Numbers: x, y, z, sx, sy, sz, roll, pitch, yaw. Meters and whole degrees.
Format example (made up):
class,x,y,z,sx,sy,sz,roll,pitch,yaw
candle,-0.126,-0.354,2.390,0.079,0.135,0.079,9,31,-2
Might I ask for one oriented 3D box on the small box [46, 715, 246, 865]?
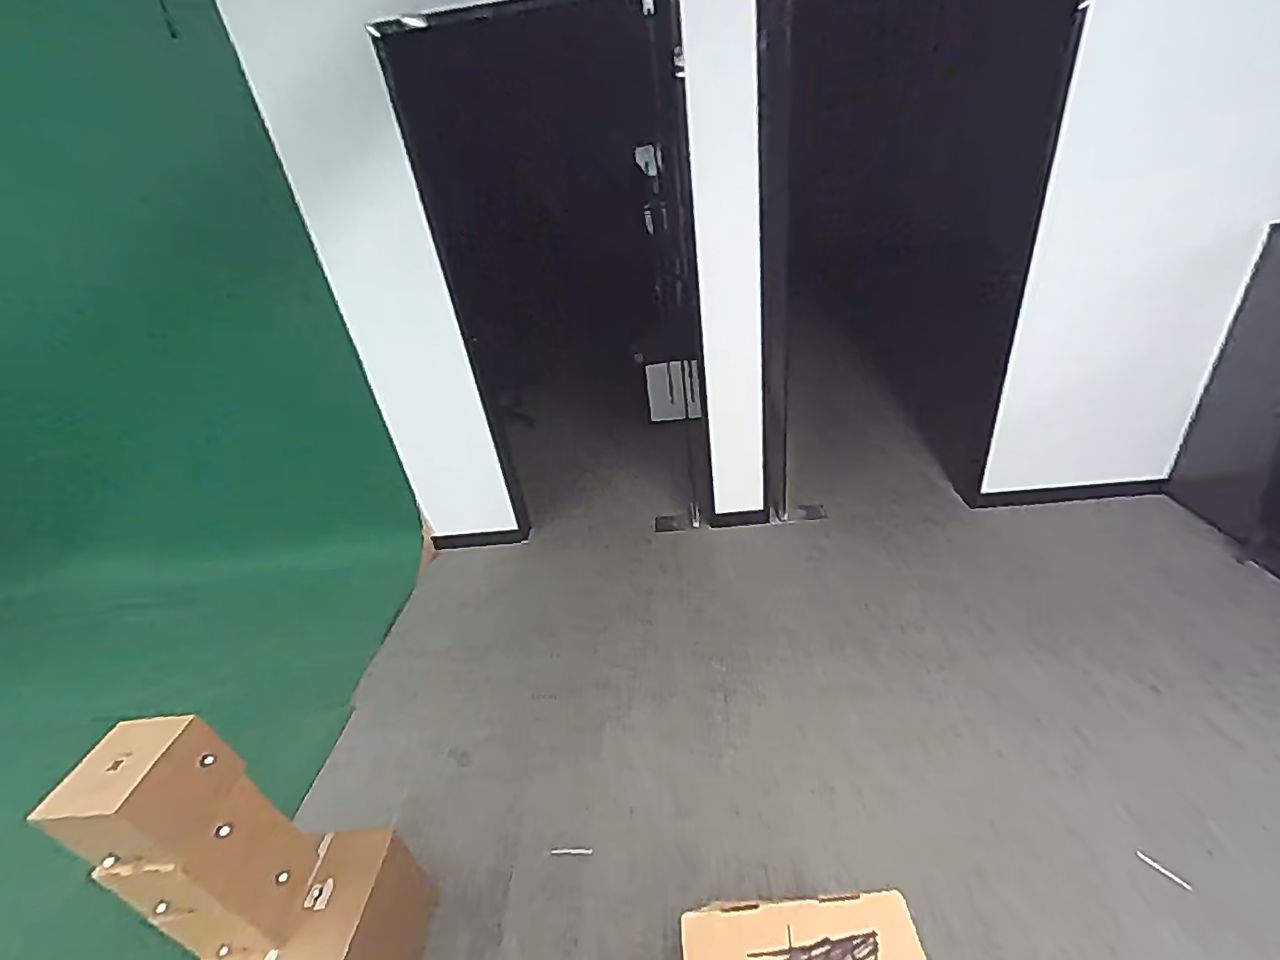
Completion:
class,x,y,z,sx,sy,sz,roll,pitch,yaw
small box,-0.858,0.552,0.968,0.168,0.176,0.179,-8,31,9

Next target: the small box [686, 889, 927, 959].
class,x,y,z,sx,sy,sz,roll,pitch,yaw
small box,0.128,0.427,0.379,0.168,0.176,0.179,-9,35,4

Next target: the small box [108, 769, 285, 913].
class,x,y,z,sx,sy,sz,roll,pitch,yaw
small box,-0.833,0.694,1.043,0.168,0.176,0.179,-9,31,7

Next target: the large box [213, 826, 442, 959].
class,x,y,z,sx,sy,sz,roll,pitch,yaw
large box,-0.692,1.062,1.189,0.320,0.320,0.408,-6,29,6
